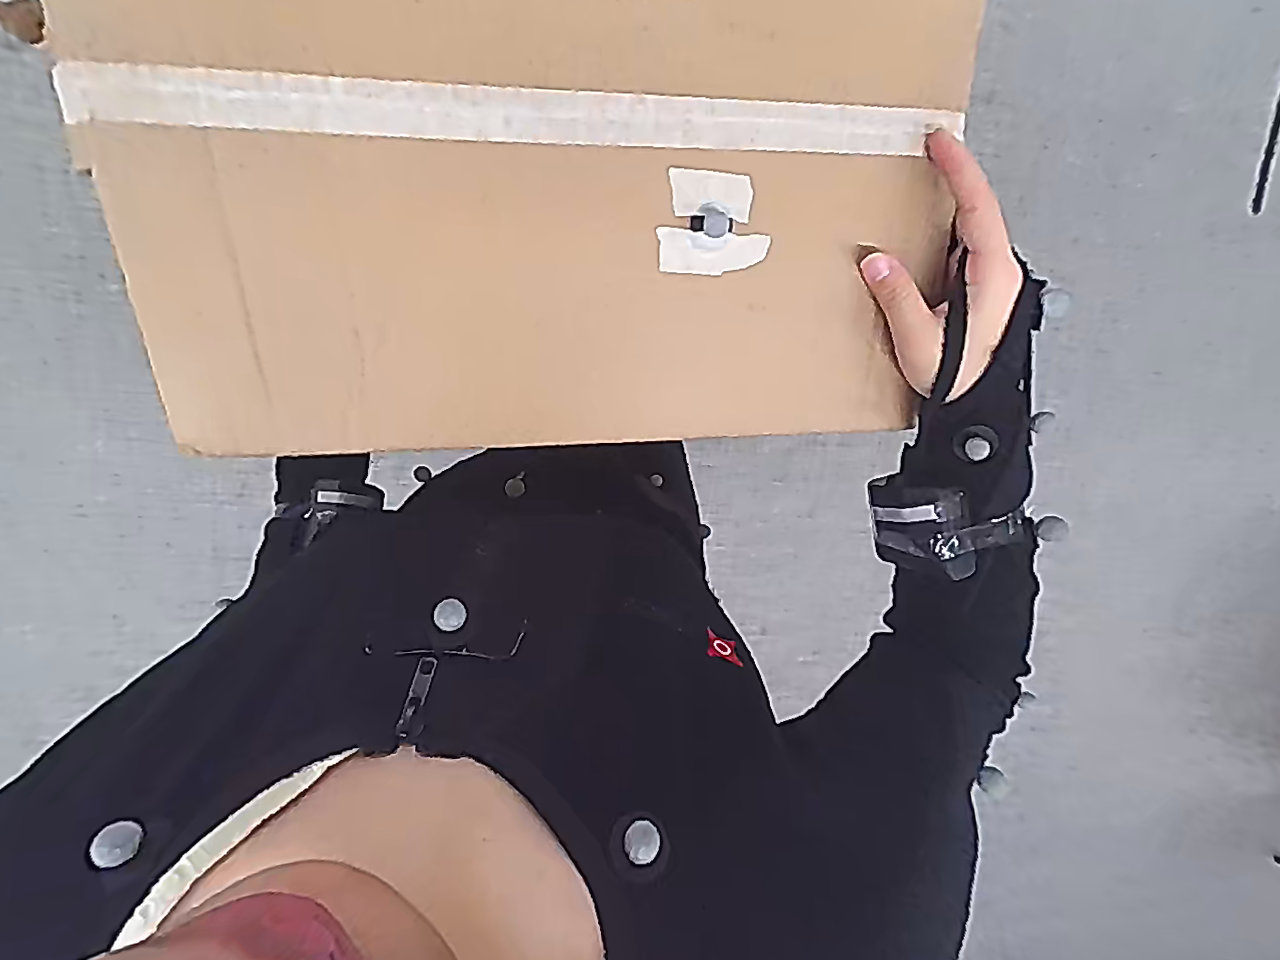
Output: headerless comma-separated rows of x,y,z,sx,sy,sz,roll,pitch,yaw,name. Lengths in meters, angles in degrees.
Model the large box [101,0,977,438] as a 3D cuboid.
-0.053,-0.225,0.400,0.408,0.320,0.320,-3,109,-11,large box
